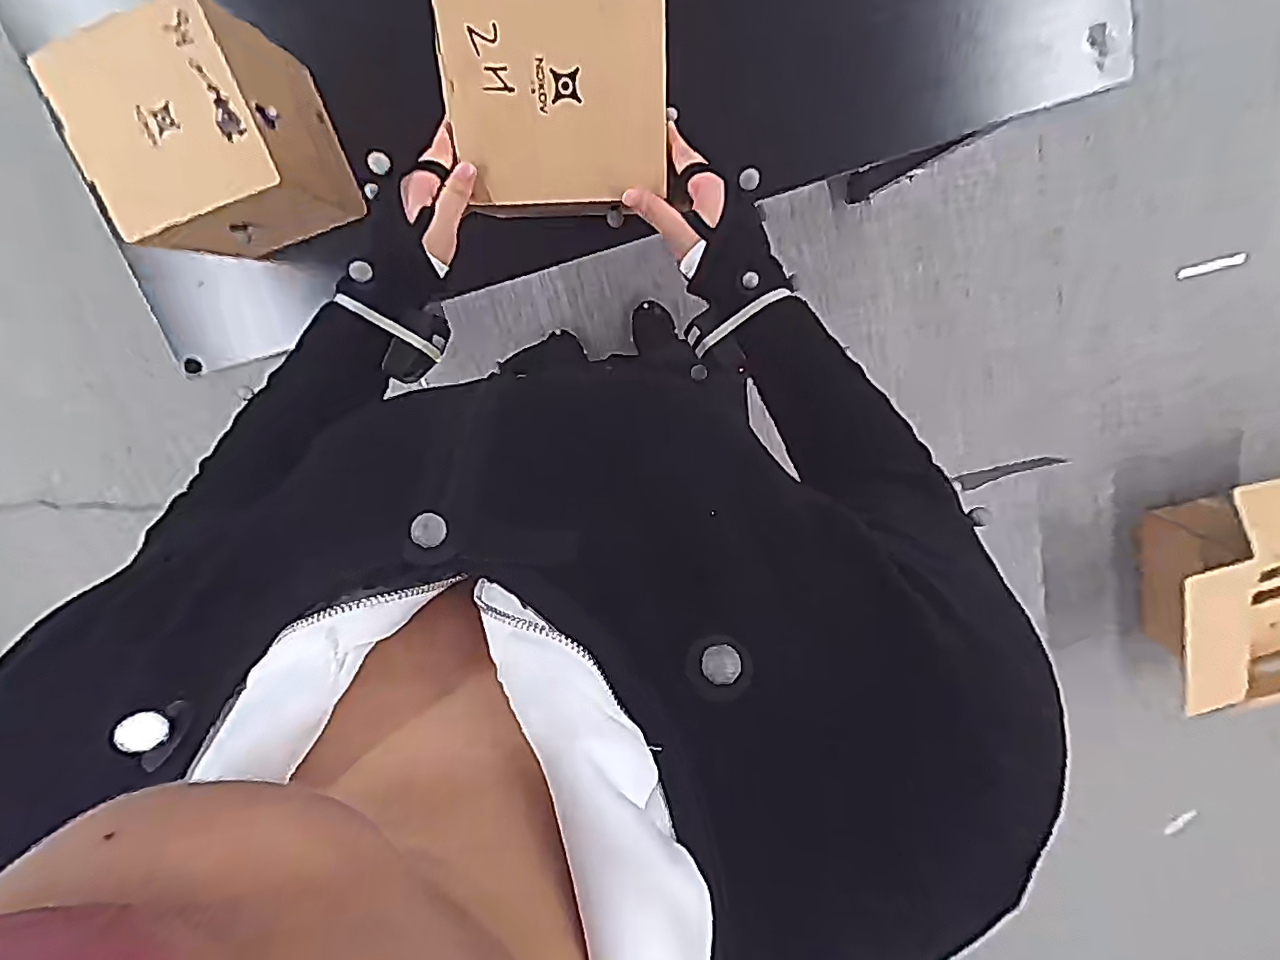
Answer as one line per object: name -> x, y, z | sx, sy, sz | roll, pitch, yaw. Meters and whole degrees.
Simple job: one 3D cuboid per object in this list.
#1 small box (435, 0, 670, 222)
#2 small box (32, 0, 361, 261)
small box -> -0.066, -0.334, 0.496 | 0.179, 0.176, 0.168 | -1, 113, 0
small box -> -0.445, -0.348, 0.578 | 0.179, 0.176, 0.168 | -17, 106, 7
